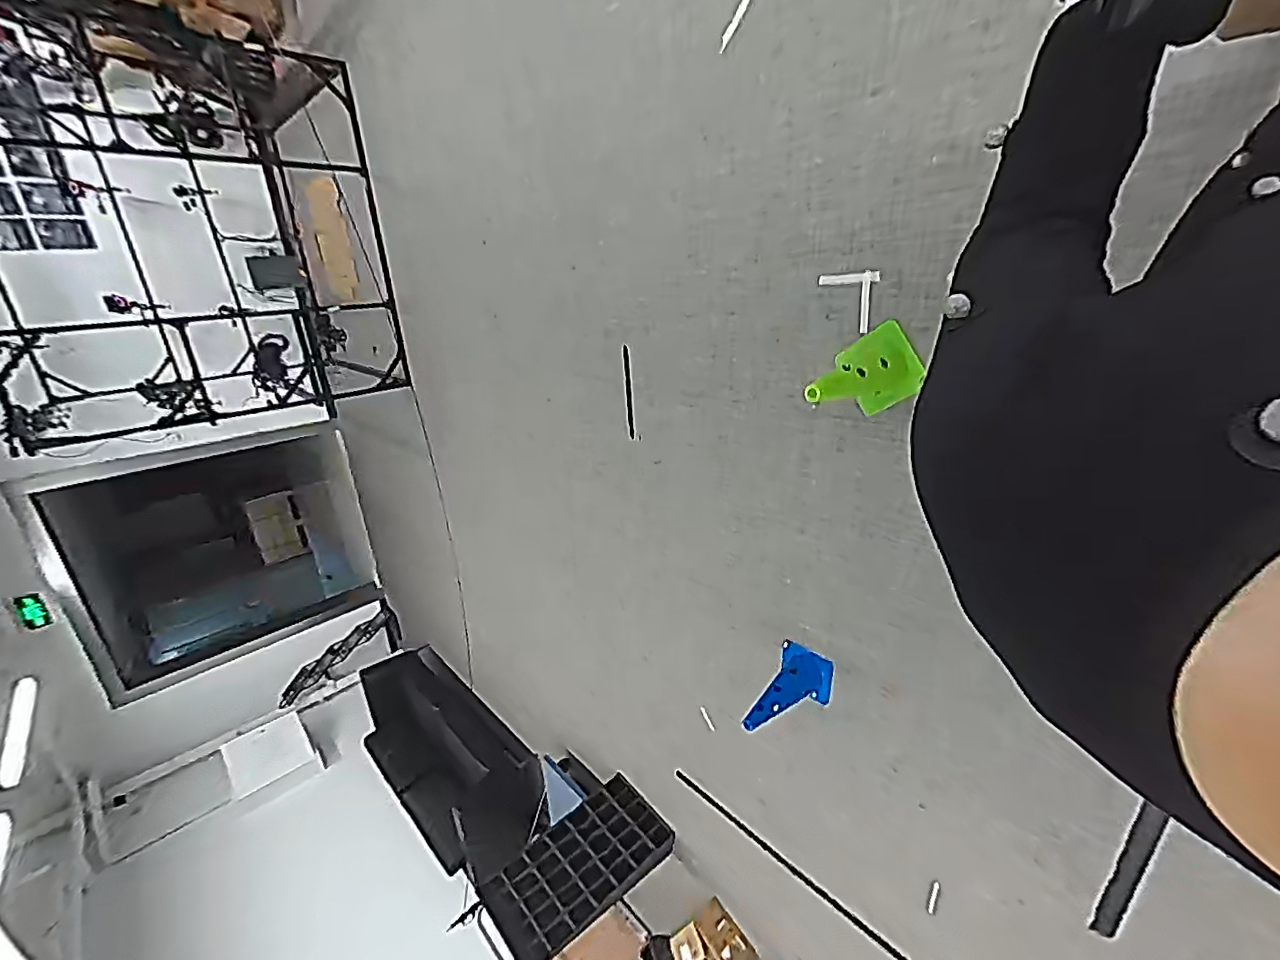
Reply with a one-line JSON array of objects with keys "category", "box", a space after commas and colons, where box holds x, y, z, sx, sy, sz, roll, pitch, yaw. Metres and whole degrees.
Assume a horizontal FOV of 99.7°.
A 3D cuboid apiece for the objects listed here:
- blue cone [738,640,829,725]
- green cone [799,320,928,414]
[{"category": "blue cone", "box": [0.483, 0.746, 1.891, 0.192, 0.380, 0.193, 24, 123, 43]}, {"category": "green cone", "box": [0.523, -0.255, 1.366, 0.202, 0.368, 0.200, -37, 77, 52]}]
